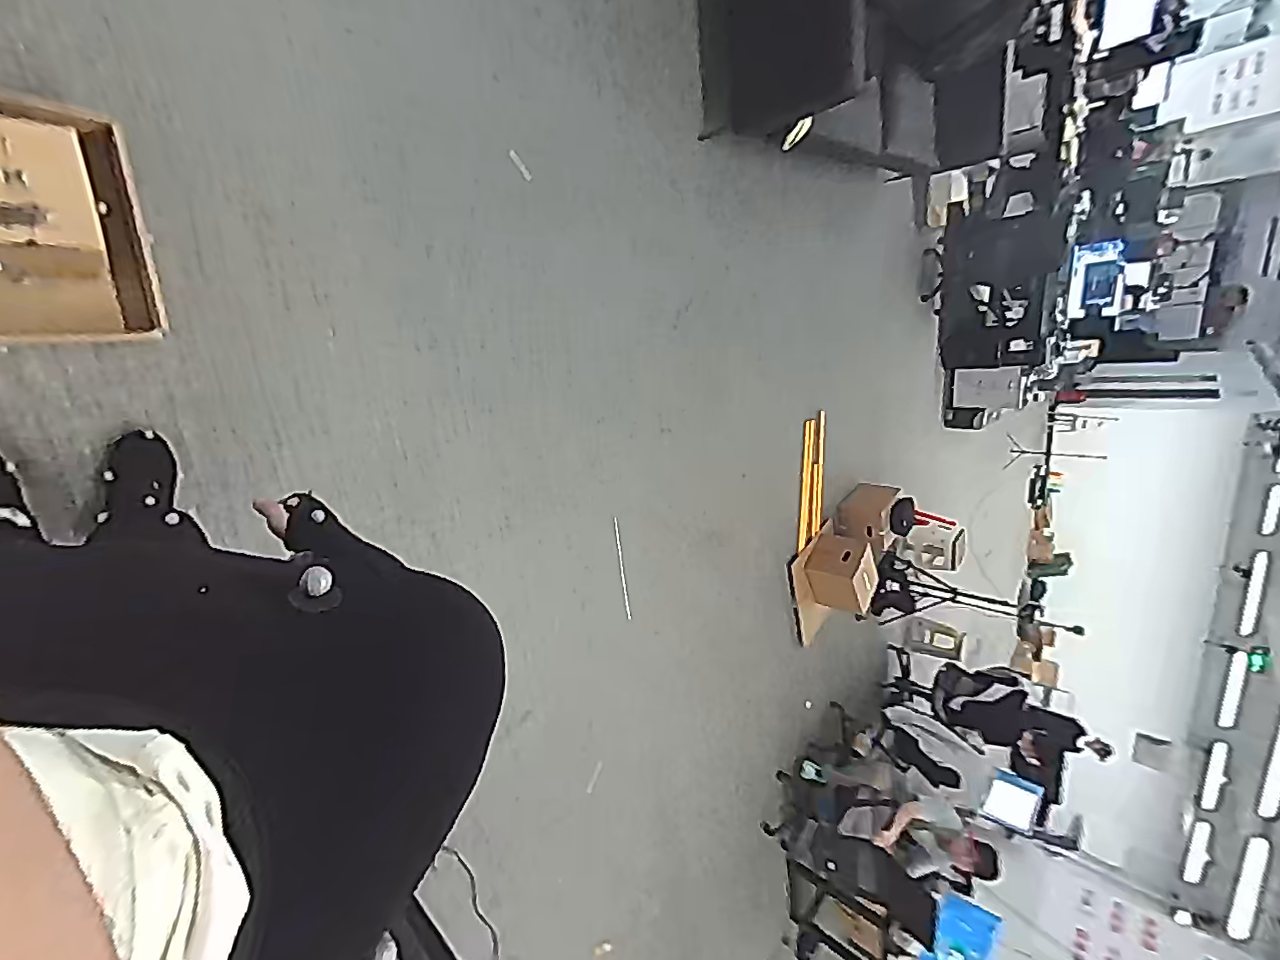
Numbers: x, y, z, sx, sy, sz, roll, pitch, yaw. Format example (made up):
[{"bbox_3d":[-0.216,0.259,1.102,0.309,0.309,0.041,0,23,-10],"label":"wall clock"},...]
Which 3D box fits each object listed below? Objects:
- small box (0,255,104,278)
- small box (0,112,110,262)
[{"bbox_3d":[-1.086,-0.467,0.958,0.168,0.176,0.179,-15,107,-42],"label":"small box"},{"bbox_3d":[-0.965,-0.451,0.848,0.168,0.176,0.179,-15,106,-42],"label":"small box"}]
